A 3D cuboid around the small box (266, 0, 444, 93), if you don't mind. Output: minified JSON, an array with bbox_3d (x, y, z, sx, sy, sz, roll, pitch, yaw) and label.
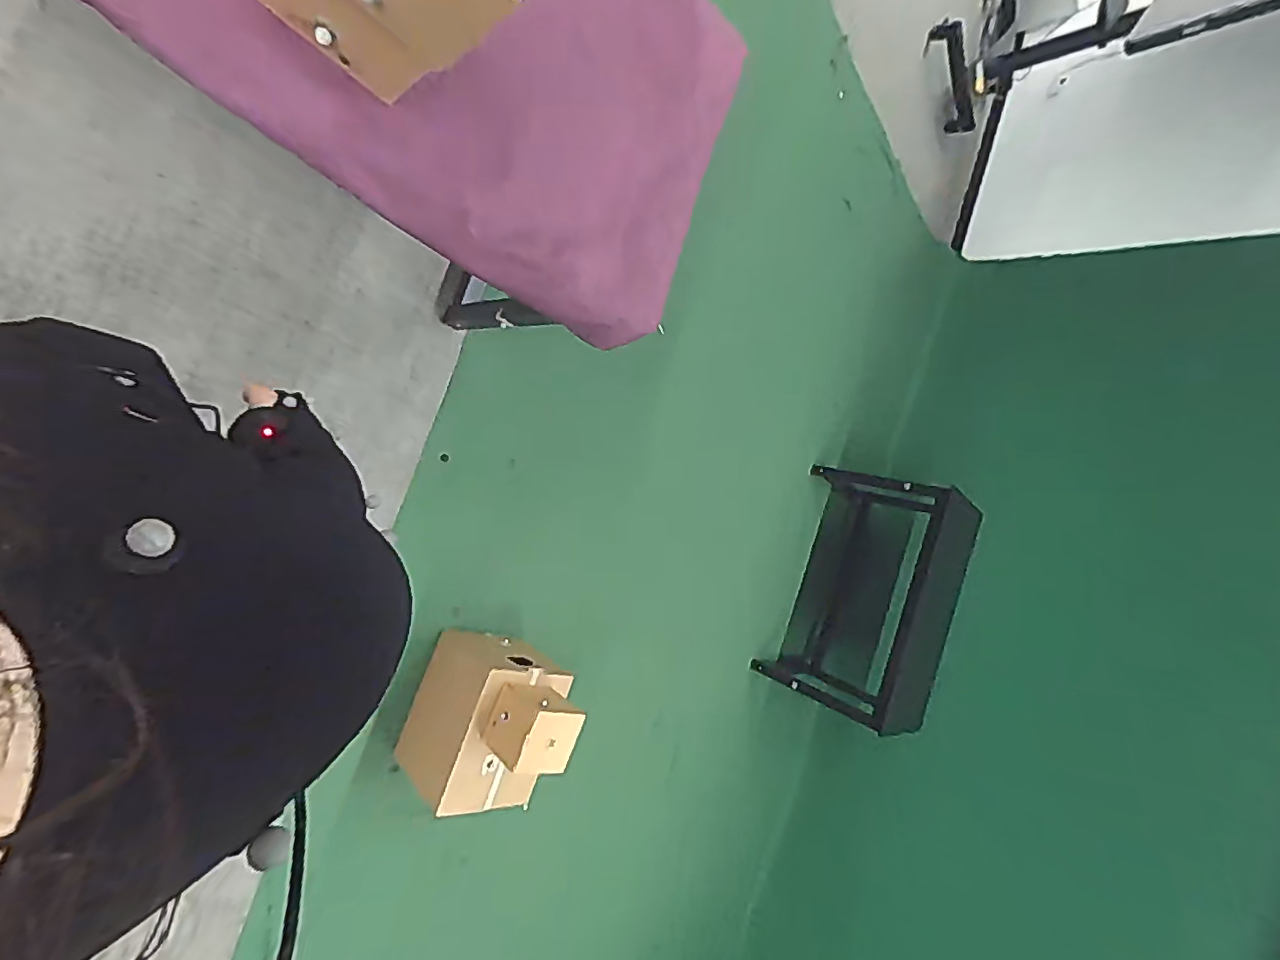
[{"bbox_3d":[-0.285,-0.566,0.570,0.168,0.176,0.179,25,83,-45],"label":"small box"}]

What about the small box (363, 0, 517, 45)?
[{"bbox_3d":[-0.186,-0.513,0.448,0.179,0.176,0.168,21,86,-45],"label":"small box"}]

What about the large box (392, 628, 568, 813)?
[{"bbox_3d":[-0.485,0.704,1.641,0.320,0.320,0.408,26,83,-44],"label":"large box"}]

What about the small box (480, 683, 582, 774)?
[{"bbox_3d":[-0.298,0.670,1.469,0.179,0.176,0.168,29,81,-44],"label":"small box"}]
